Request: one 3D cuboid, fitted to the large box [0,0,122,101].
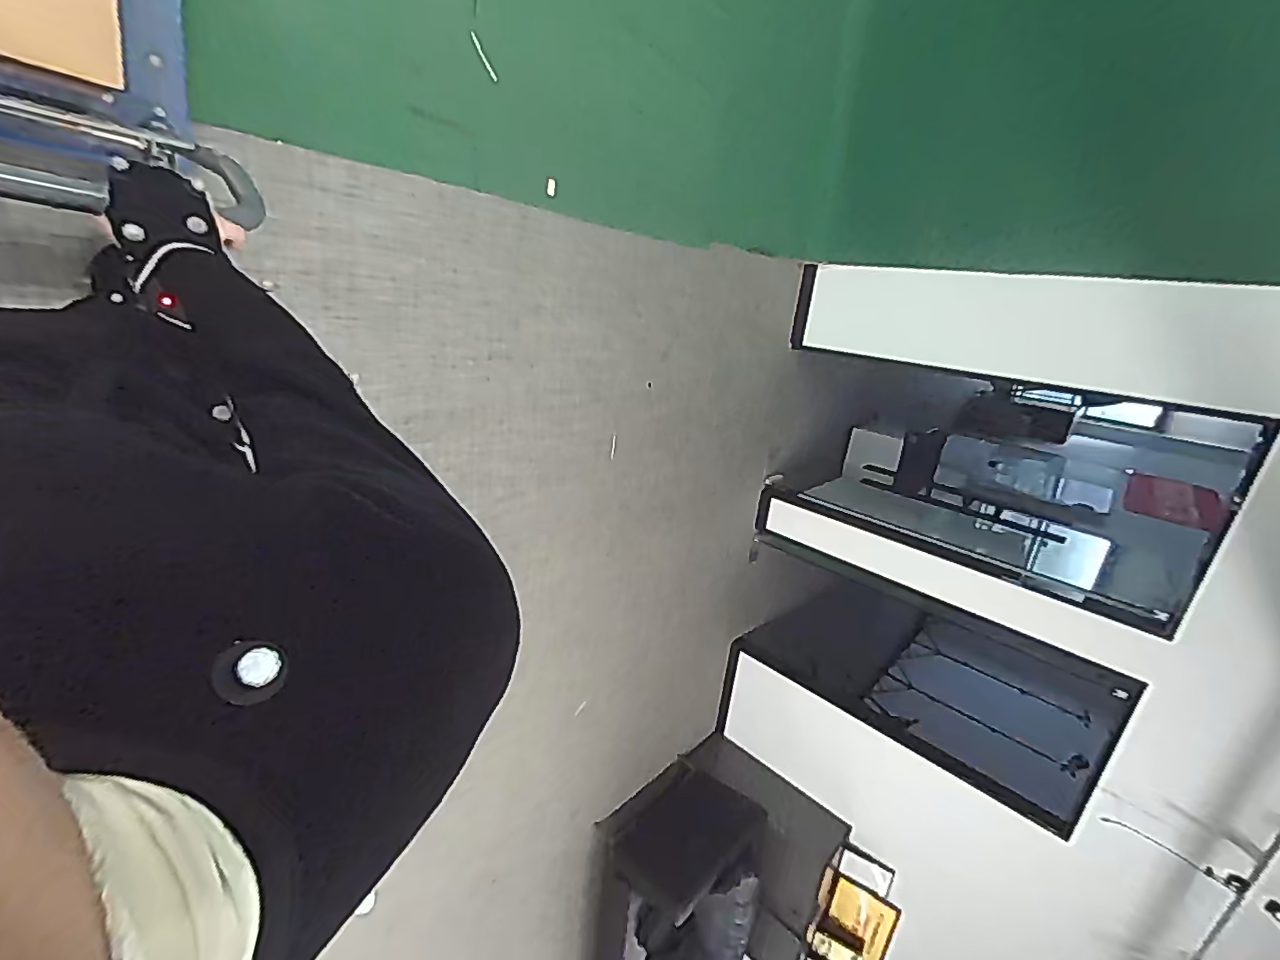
[{"bbox_3d":[-0.901,-0.764,0.678,0.320,0.320,0.408,-9,119,-46],"label":"large box"}]
